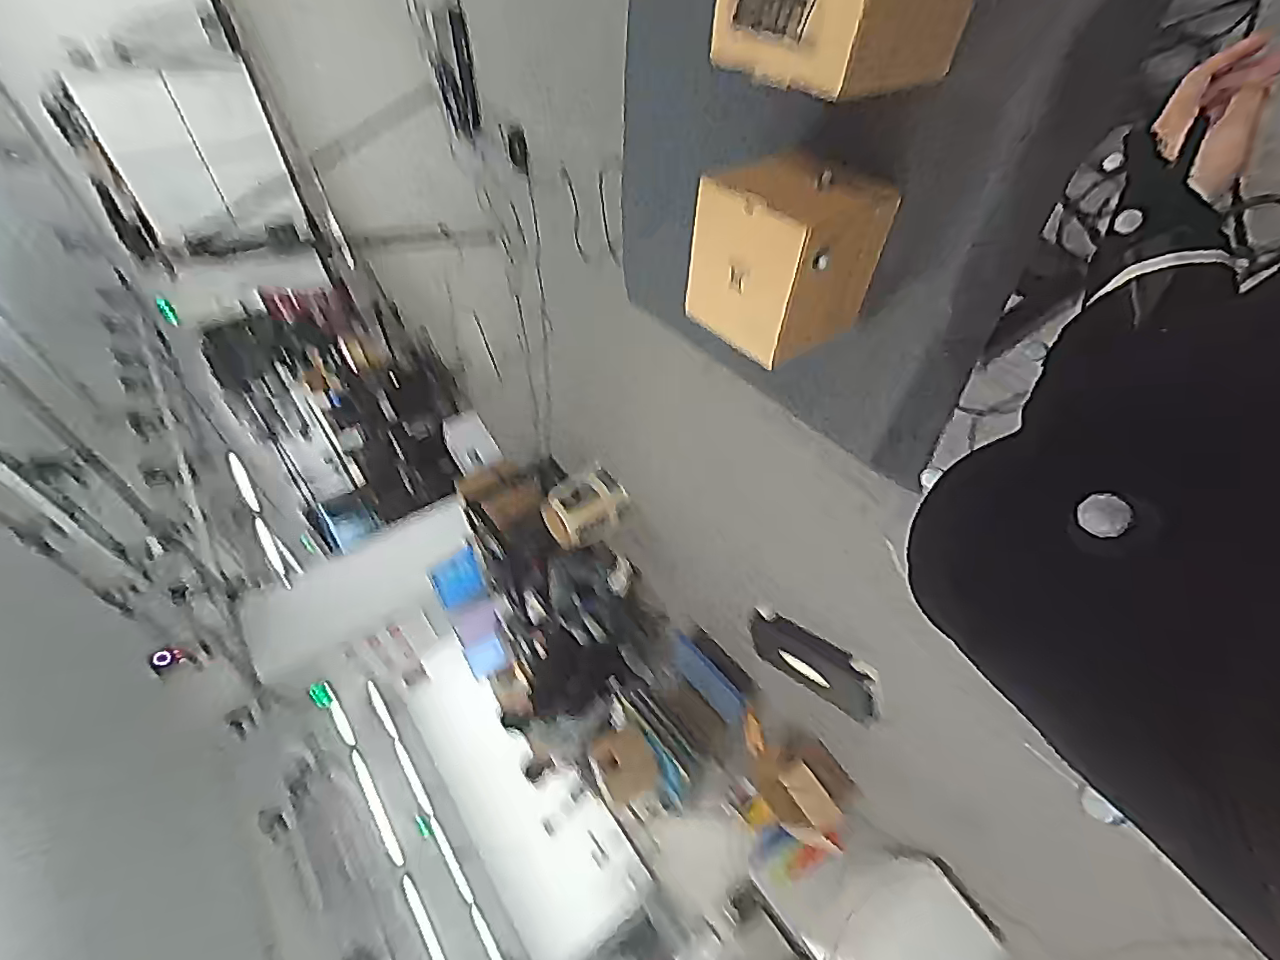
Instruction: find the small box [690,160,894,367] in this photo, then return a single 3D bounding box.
[{"bbox_3d":[0.185,-0.279,0.687,0.168,0.176,0.179,44,149,32],"label":"small box"}]
